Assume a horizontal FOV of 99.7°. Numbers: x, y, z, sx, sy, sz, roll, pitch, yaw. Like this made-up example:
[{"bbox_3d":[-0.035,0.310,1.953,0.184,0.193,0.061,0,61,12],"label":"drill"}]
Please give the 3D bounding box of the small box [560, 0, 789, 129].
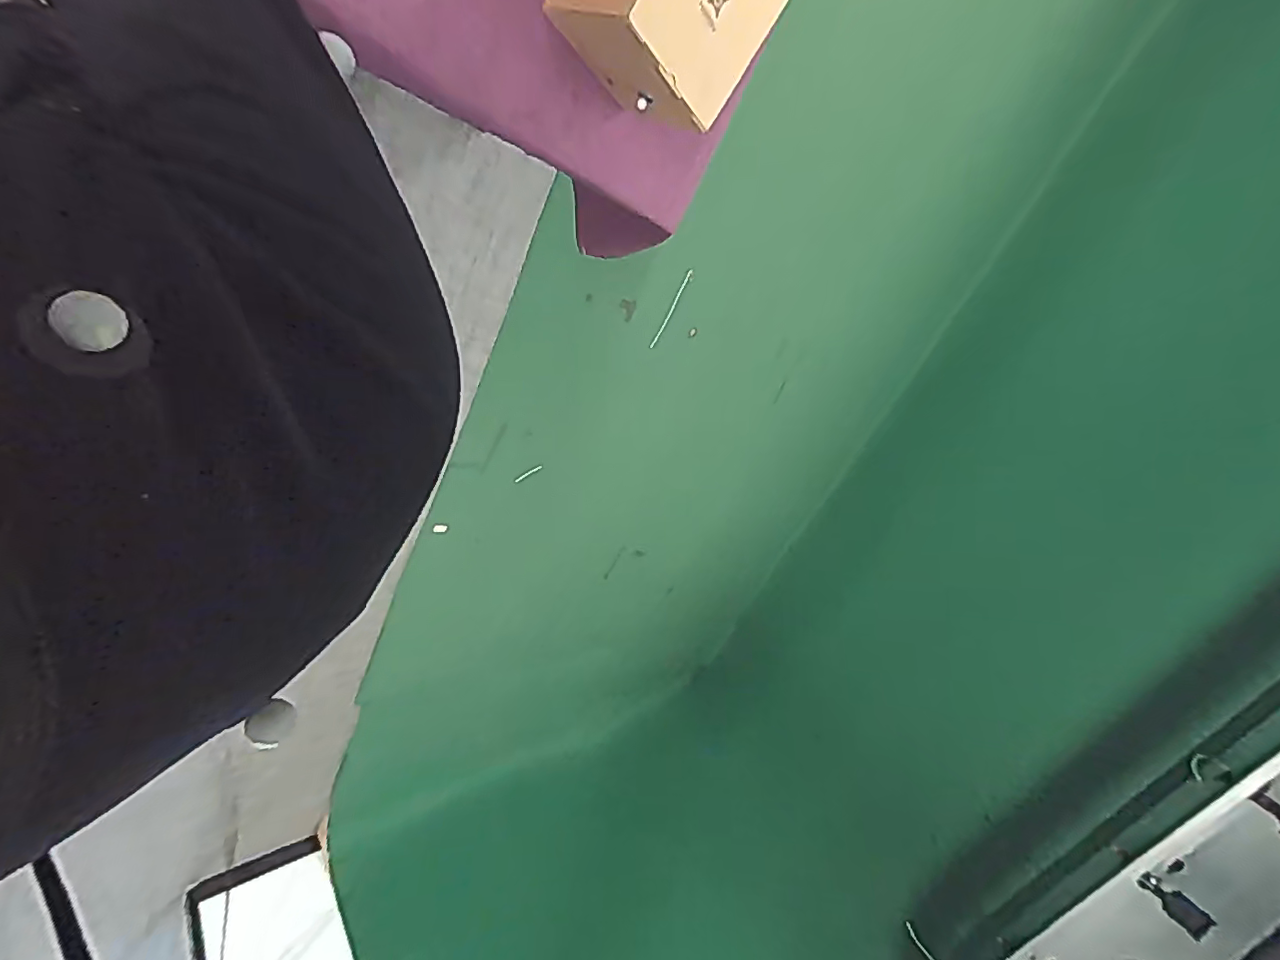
[{"bbox_3d":[0.032,-0.548,0.612,0.168,0.176,0.179,18,110,-53],"label":"small box"}]
